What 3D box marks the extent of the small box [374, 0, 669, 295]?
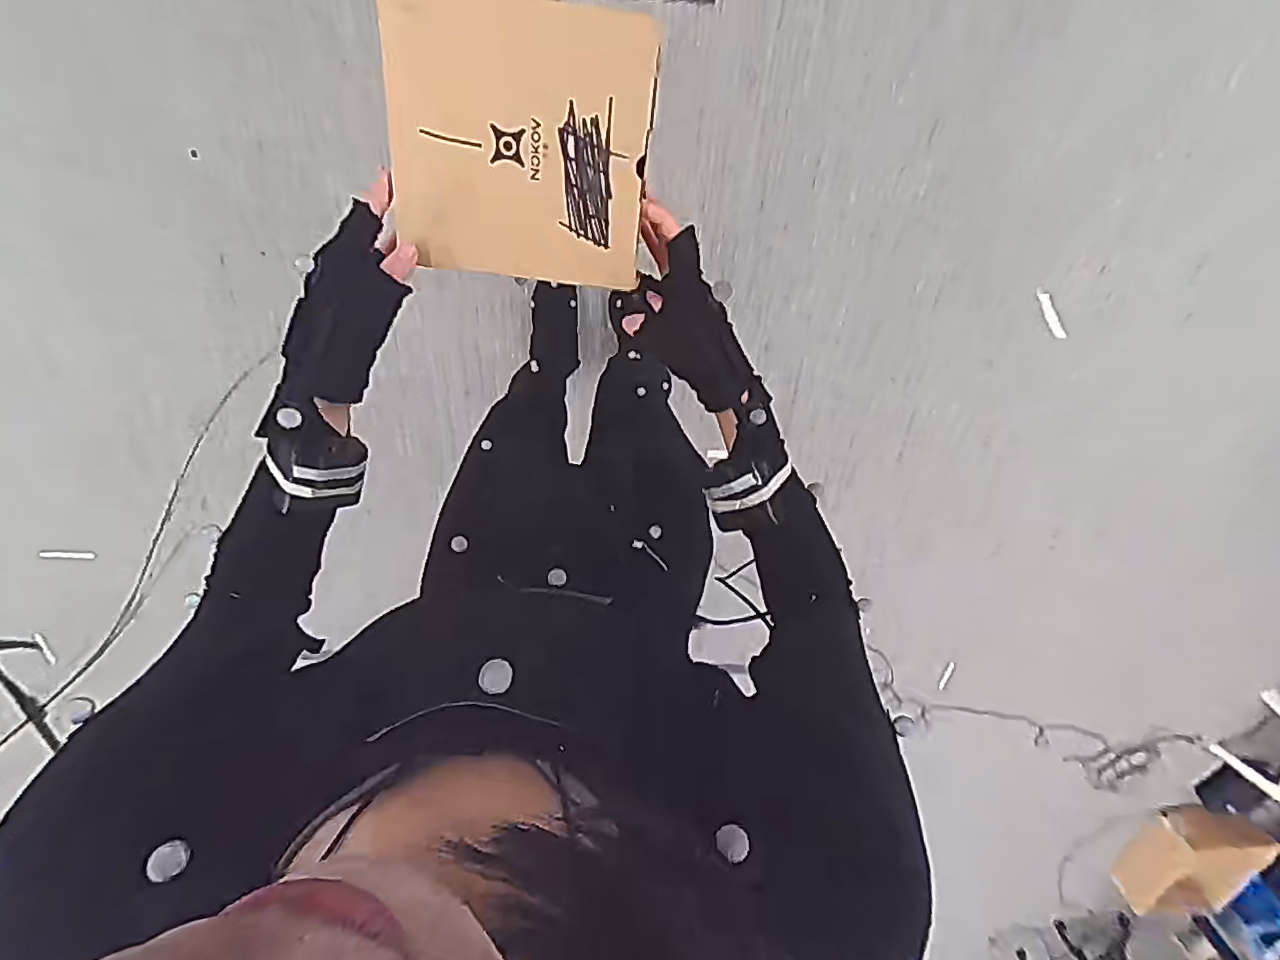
[{"bbox_3d":[-0.082,-0.254,0.422,0.179,0.176,0.168,6,117,-6],"label":"small box"}]
